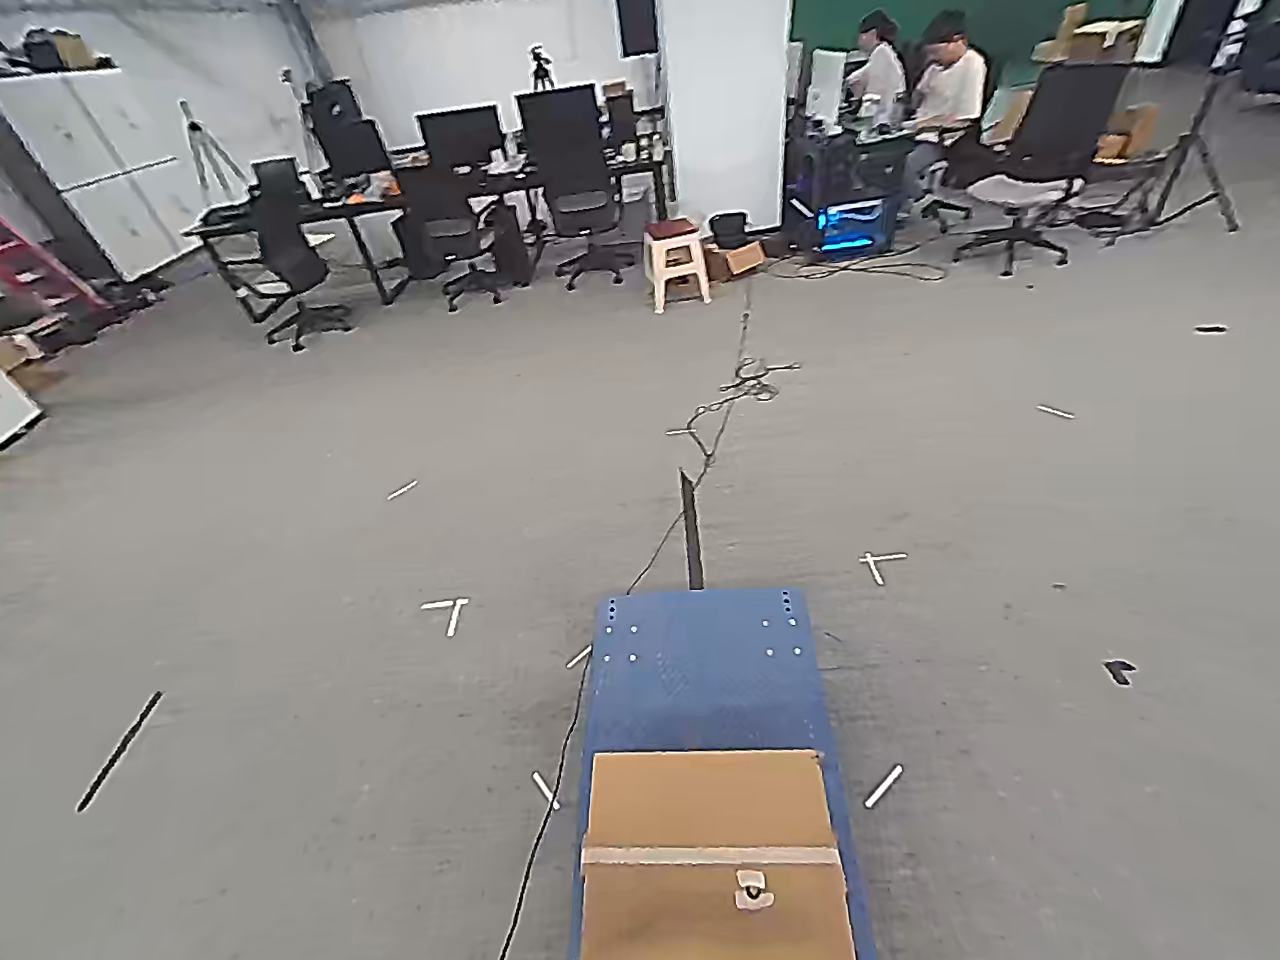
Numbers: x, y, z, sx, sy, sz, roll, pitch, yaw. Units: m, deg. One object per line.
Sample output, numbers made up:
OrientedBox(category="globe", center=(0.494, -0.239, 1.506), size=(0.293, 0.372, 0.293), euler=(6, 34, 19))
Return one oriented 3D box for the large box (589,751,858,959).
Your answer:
OrientedBox(category="large box", center=(0.135, 0.714, 0.993), size=(0.408, 0.320, 0.320), euler=(-5, 49, 6))
